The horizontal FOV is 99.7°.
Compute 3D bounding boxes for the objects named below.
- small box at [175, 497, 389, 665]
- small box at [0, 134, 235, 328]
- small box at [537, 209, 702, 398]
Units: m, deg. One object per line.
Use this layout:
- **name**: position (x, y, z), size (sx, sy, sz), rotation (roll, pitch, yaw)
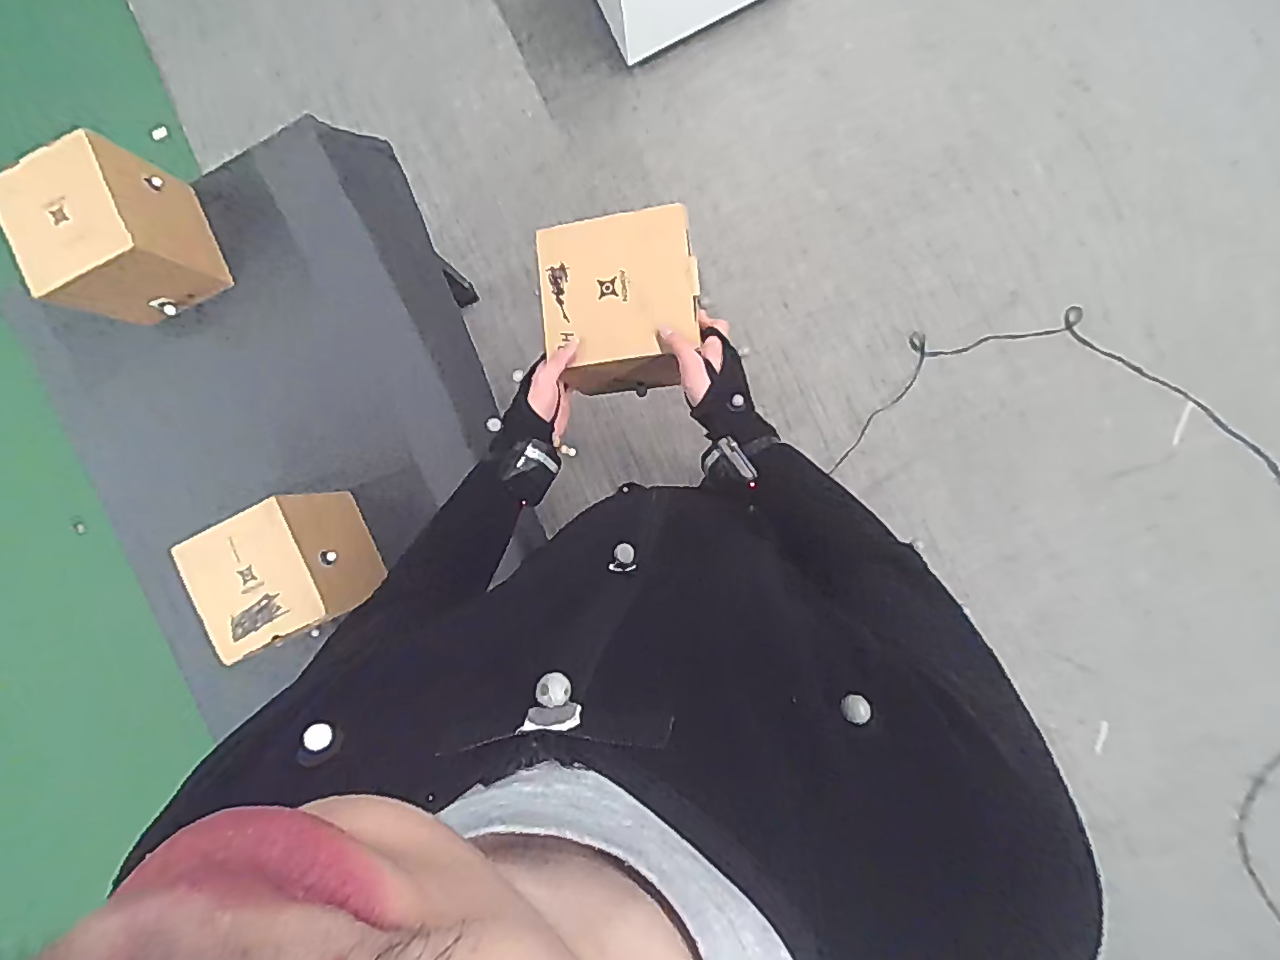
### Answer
- **small box**: position (-0.506, 0.135, 0.792), size (0.168, 0.176, 0.179), rotation (-25, 88, 4)
- **small box**: position (-0.763, -0.352, 0.802), size (0.168, 0.176, 0.179), rotation (-24, 90, 5)
- **small box**: position (-0.015, -0.205, 0.676), size (0.179, 0.176, 0.168), rotation (-5, 86, 9)
